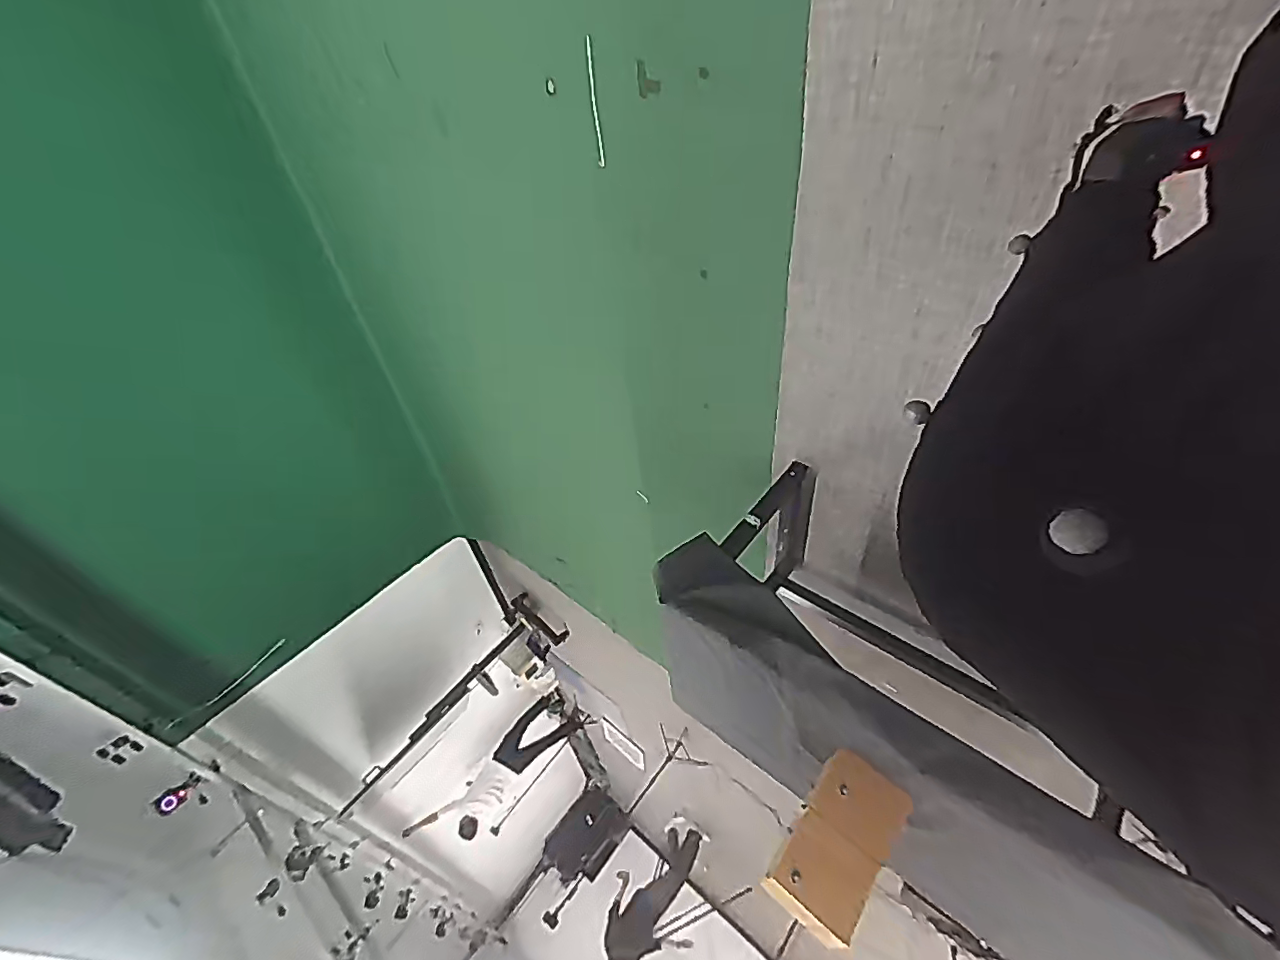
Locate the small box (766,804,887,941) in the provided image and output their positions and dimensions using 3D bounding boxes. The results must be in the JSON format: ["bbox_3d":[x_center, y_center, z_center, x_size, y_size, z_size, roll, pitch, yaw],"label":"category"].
[{"bbox_3d":[0.405,0.850,1.179,0.179,0.176,0.168,33,148,25],"label":"small box"}]

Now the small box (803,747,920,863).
[{"bbox_3d":[0.510,0.752,1.256,0.179,0.176,0.168,31,147,25],"label":"small box"}]
